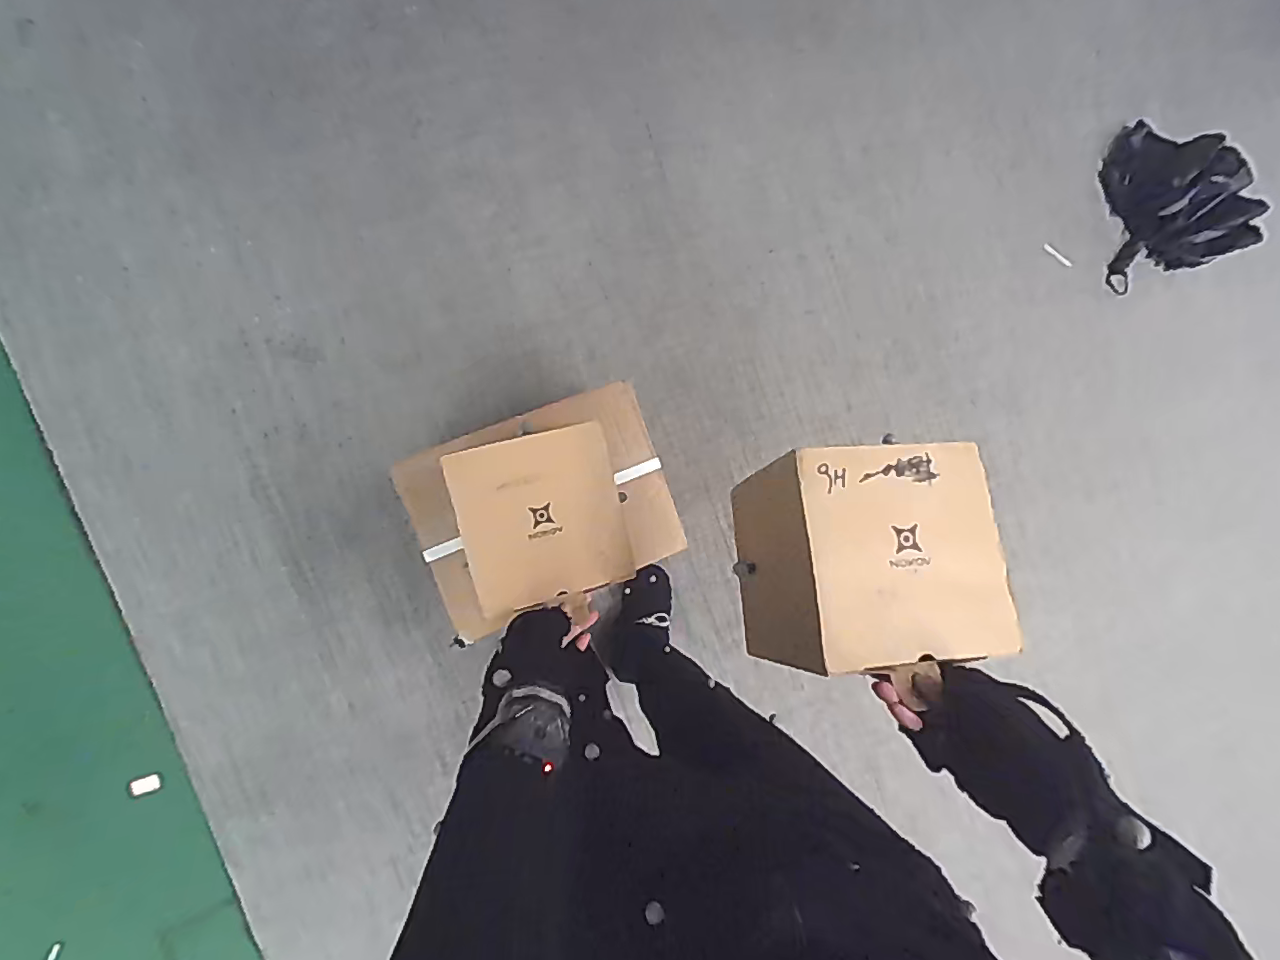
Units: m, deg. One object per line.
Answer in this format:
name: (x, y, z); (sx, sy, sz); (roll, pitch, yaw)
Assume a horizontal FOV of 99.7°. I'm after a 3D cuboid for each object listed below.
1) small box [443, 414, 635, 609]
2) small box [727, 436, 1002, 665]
small box: (-0.117, 0.025, 0.635); (0.168, 0.176, 0.179); (-15, 97, -13)
small box: (0.190, 0.064, 0.509); (0.168, 0.176, 0.179); (-3, 80, -10)
